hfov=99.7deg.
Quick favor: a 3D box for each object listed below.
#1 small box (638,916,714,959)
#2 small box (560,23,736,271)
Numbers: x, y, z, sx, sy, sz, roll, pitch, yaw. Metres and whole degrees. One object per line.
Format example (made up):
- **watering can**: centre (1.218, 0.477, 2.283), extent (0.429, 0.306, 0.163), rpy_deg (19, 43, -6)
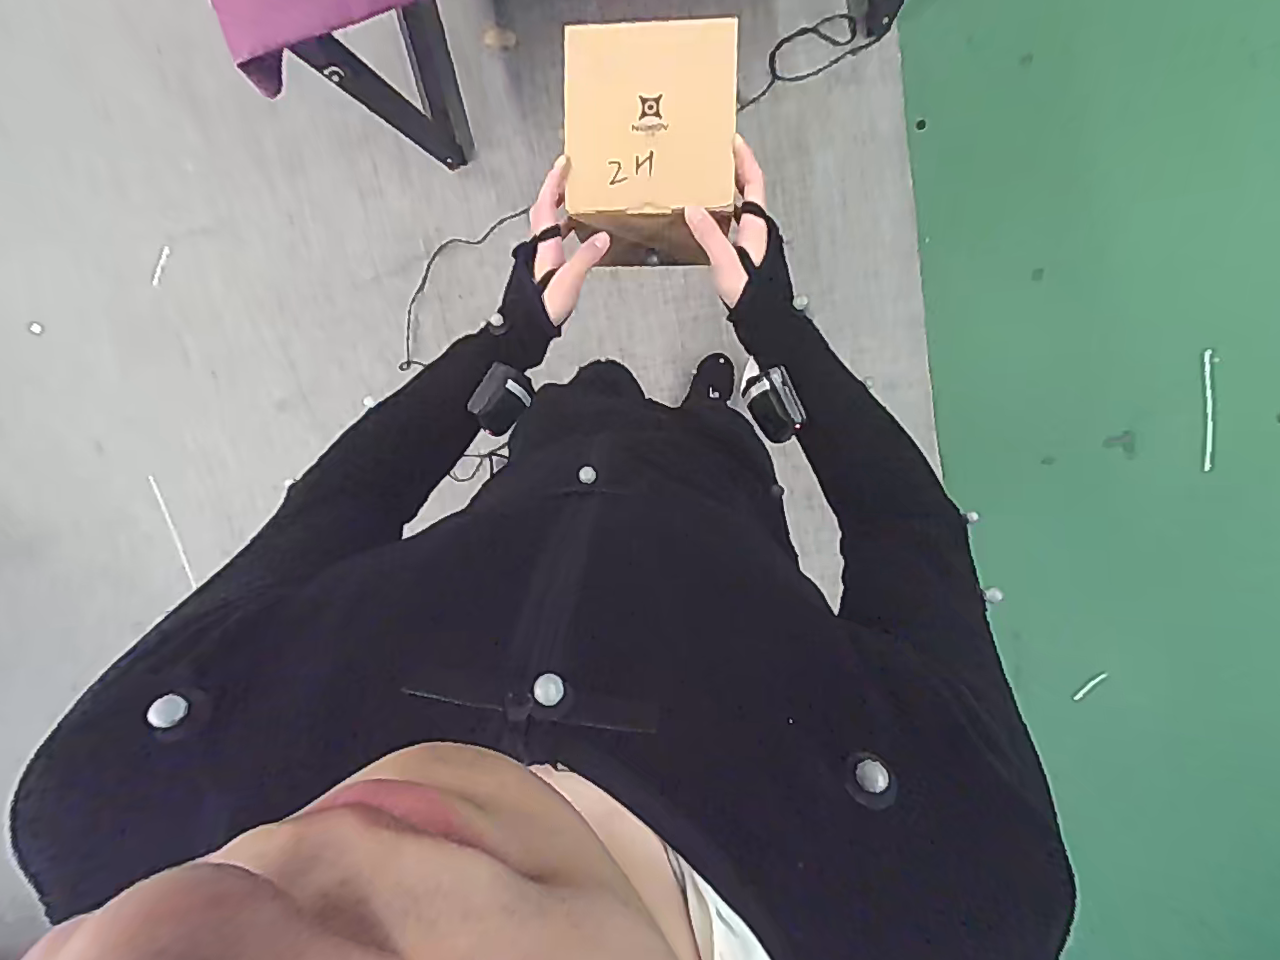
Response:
- **small box**: centre (0.094, 1.247, 1.364), extent (0.179, 0.176, 0.168), rpy_deg (-13, 101, 10)
- **small box**: centre (0.012, -0.346, 0.593), extent (0.168, 0.176, 0.179), rpy_deg (1, 94, 5)
